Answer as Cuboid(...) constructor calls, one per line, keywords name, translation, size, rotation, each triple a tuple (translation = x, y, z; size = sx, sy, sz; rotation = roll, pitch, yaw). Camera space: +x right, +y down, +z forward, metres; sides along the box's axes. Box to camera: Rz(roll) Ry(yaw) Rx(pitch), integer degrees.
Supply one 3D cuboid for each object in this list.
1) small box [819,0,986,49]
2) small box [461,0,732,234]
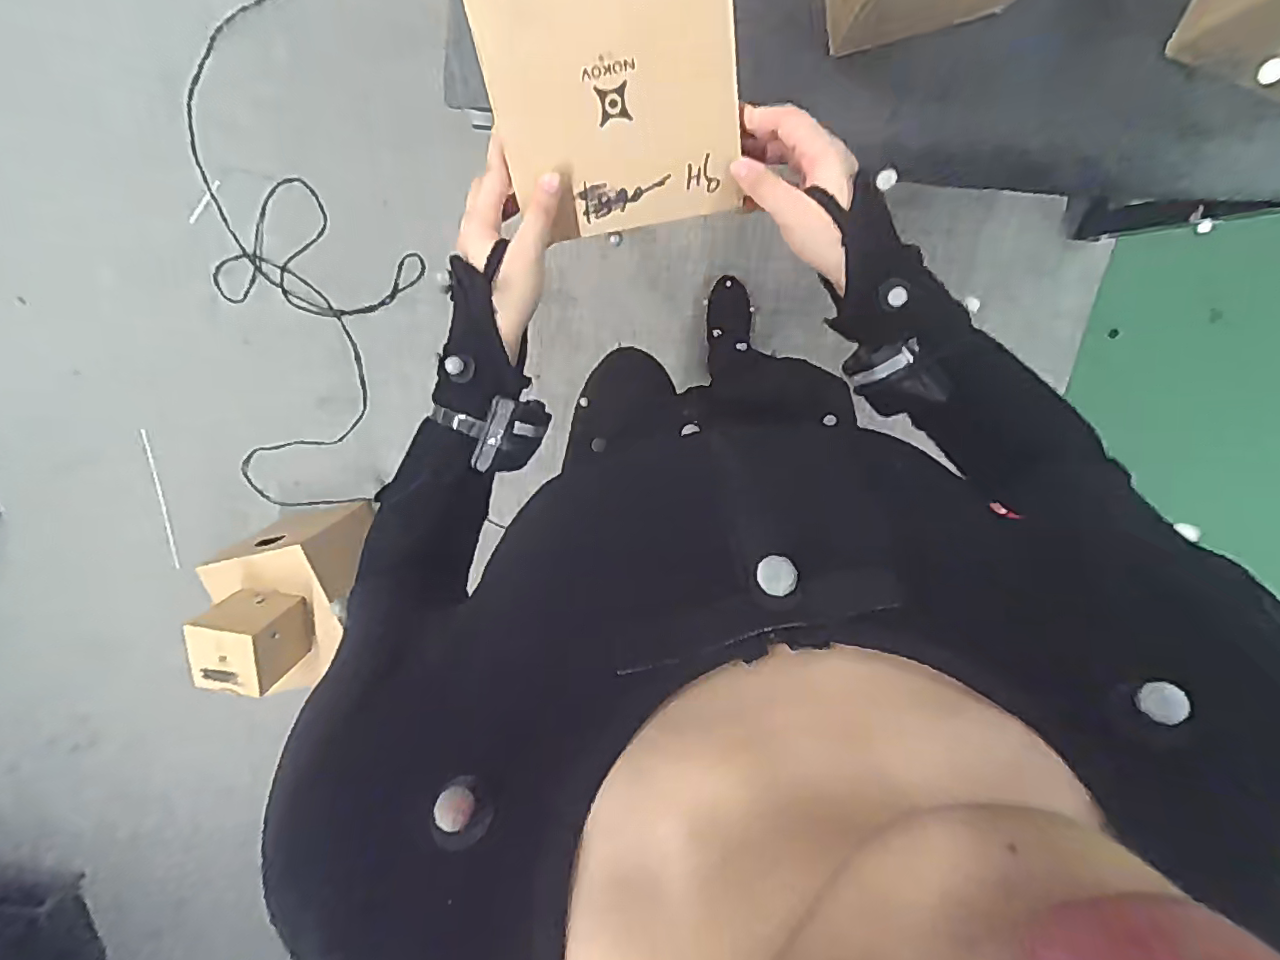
Cuboid(name="small box", translation=(0.256, -0.522, 0.472), size=(0.179, 0.176, 0.168), rotation=(-11, 107, 7))
Cuboid(name="small box", translation=(-0.026, -0.317, 0.431), size=(0.168, 0.176, 0.179), rotation=(-9, 125, 6))
